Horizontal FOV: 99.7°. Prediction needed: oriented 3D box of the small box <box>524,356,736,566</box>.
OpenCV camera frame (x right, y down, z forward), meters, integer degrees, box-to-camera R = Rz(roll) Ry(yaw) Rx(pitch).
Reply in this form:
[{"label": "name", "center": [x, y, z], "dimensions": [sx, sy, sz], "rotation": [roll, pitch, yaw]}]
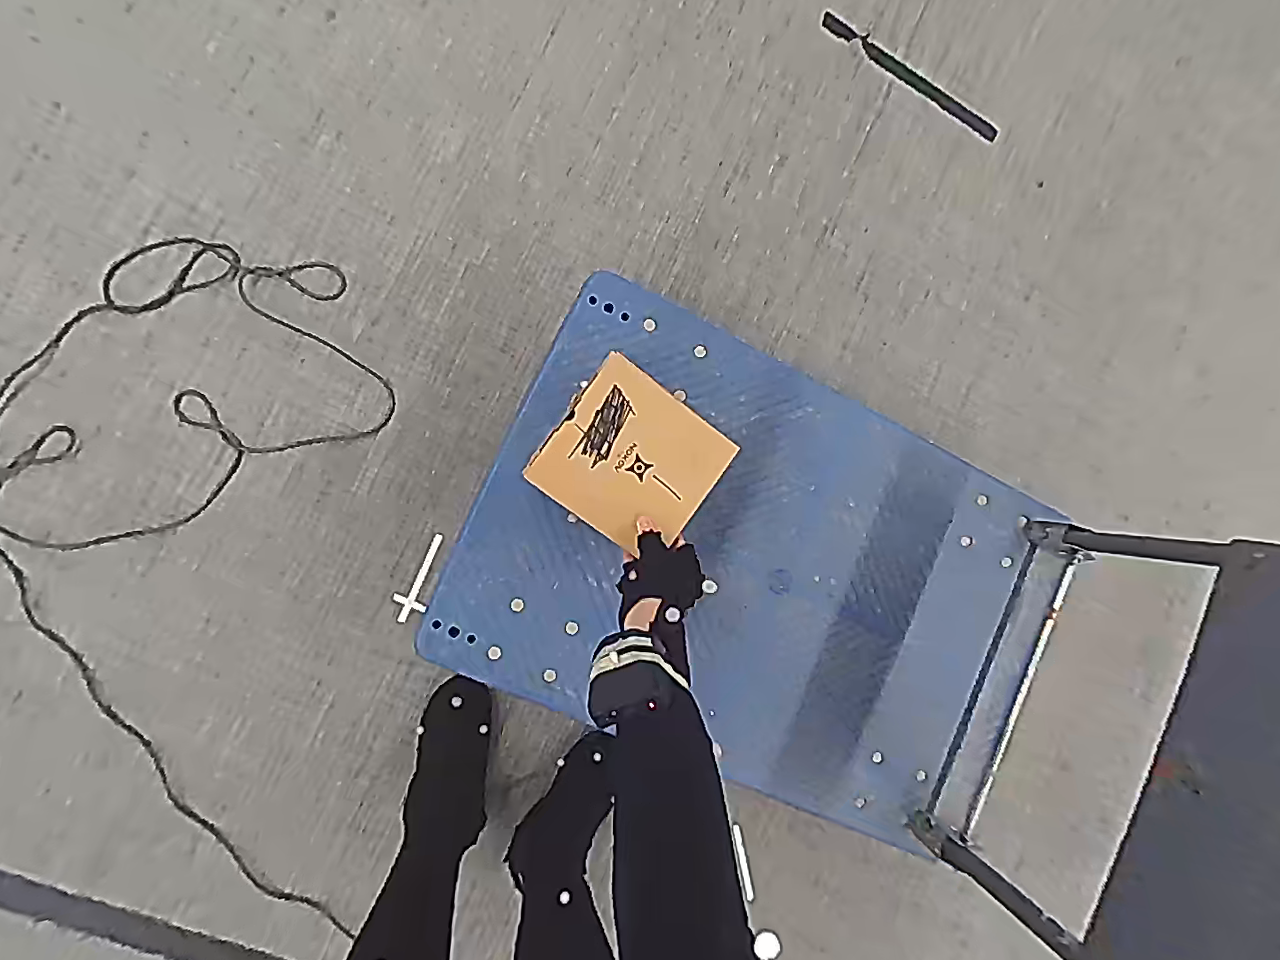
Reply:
[{"label": "small box", "center": [-0.019, -0.021, 0.662], "dimensions": [0.179, 0.176, 0.168], "rotation": [37, 87, -8]}]
